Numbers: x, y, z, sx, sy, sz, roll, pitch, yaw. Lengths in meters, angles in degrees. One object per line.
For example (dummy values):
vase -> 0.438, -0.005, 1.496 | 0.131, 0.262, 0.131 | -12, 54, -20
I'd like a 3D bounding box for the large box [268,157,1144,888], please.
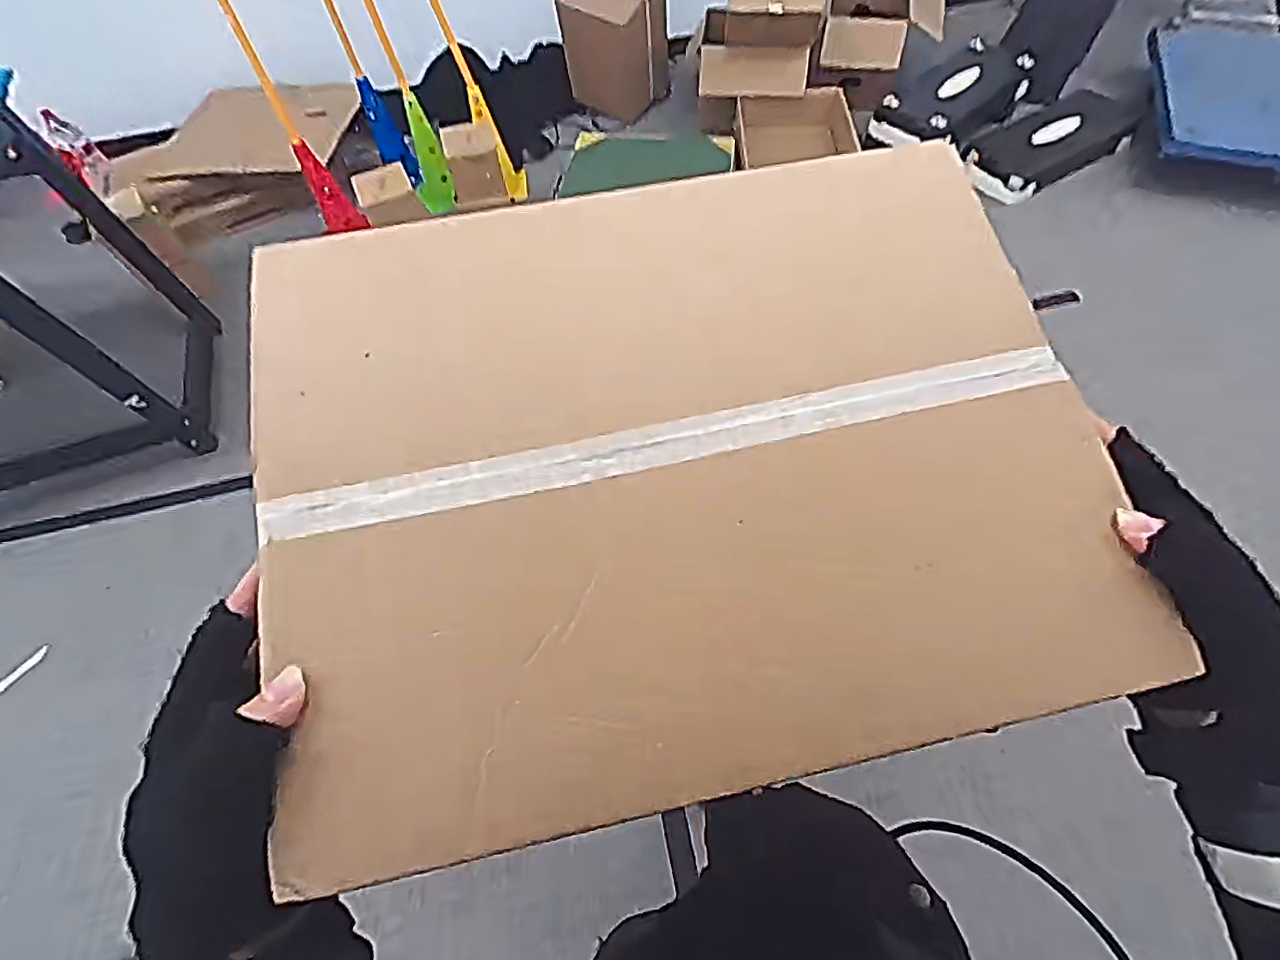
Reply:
large box -> 0.016, 0.025, 0.424 | 0.408, 0.320, 0.320 | -12, 74, -4
